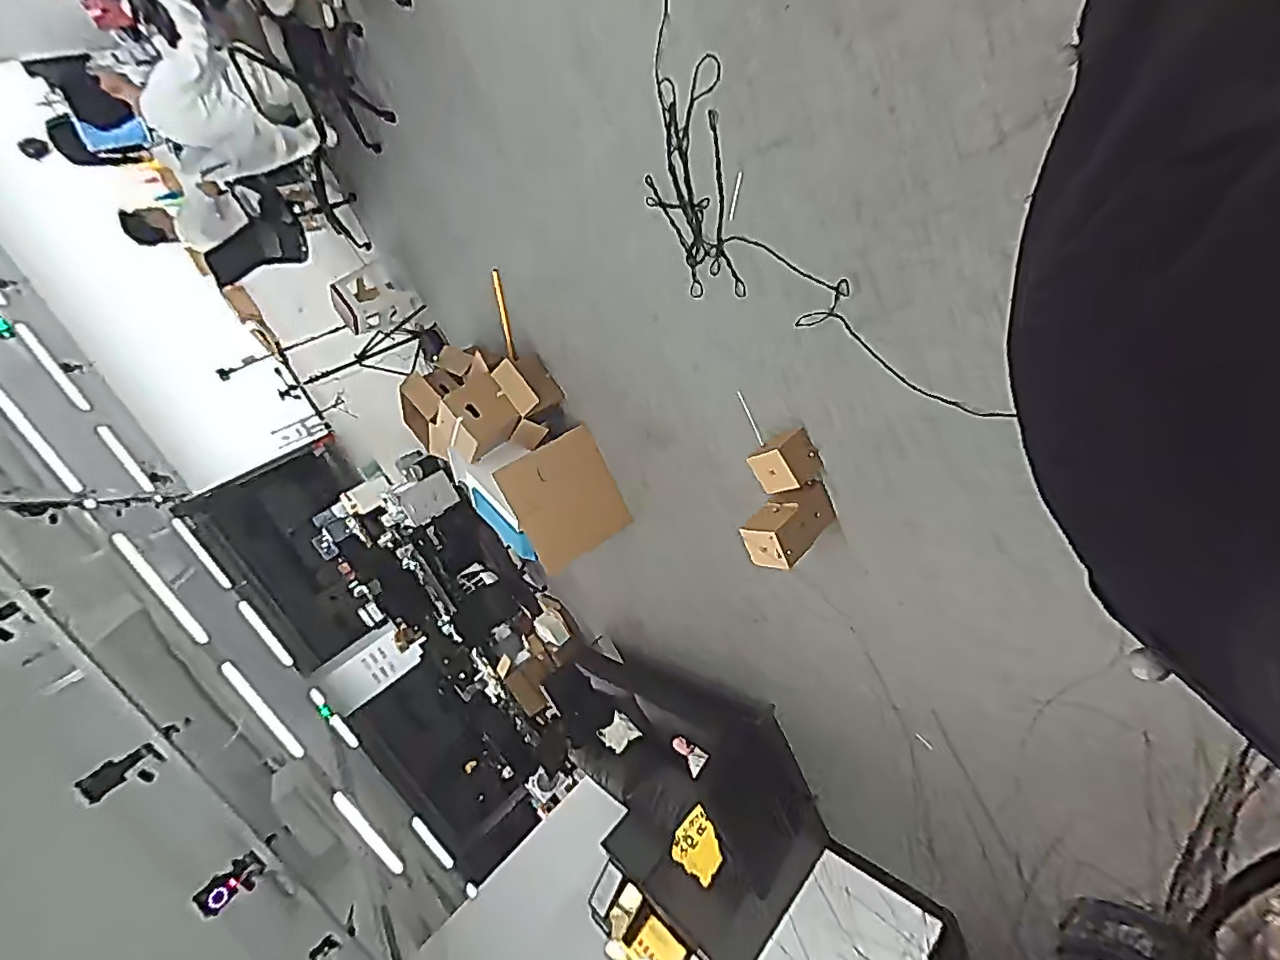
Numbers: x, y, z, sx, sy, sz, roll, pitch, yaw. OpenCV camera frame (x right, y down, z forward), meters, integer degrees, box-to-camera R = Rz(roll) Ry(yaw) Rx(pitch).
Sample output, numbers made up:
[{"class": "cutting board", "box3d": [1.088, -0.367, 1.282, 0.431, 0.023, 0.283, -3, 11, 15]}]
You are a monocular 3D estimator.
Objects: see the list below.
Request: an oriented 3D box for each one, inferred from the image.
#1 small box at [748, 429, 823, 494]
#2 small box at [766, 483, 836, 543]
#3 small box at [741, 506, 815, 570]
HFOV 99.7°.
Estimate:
[{"class": "small box", "box3d": [0.545, -0.069, 2.018, 0.168, 0.176, 0.179, 57, 150, -8]}, {"class": "small box", "box3d": [0.628, 0.119, 2.095, 0.168, 0.176, 0.179, -1, 121, 56]}, {"class": "small box", "box3d": [0.516, 0.210, 2.016, 0.179, 0.176, 0.168, 1, 122, 56]}]
